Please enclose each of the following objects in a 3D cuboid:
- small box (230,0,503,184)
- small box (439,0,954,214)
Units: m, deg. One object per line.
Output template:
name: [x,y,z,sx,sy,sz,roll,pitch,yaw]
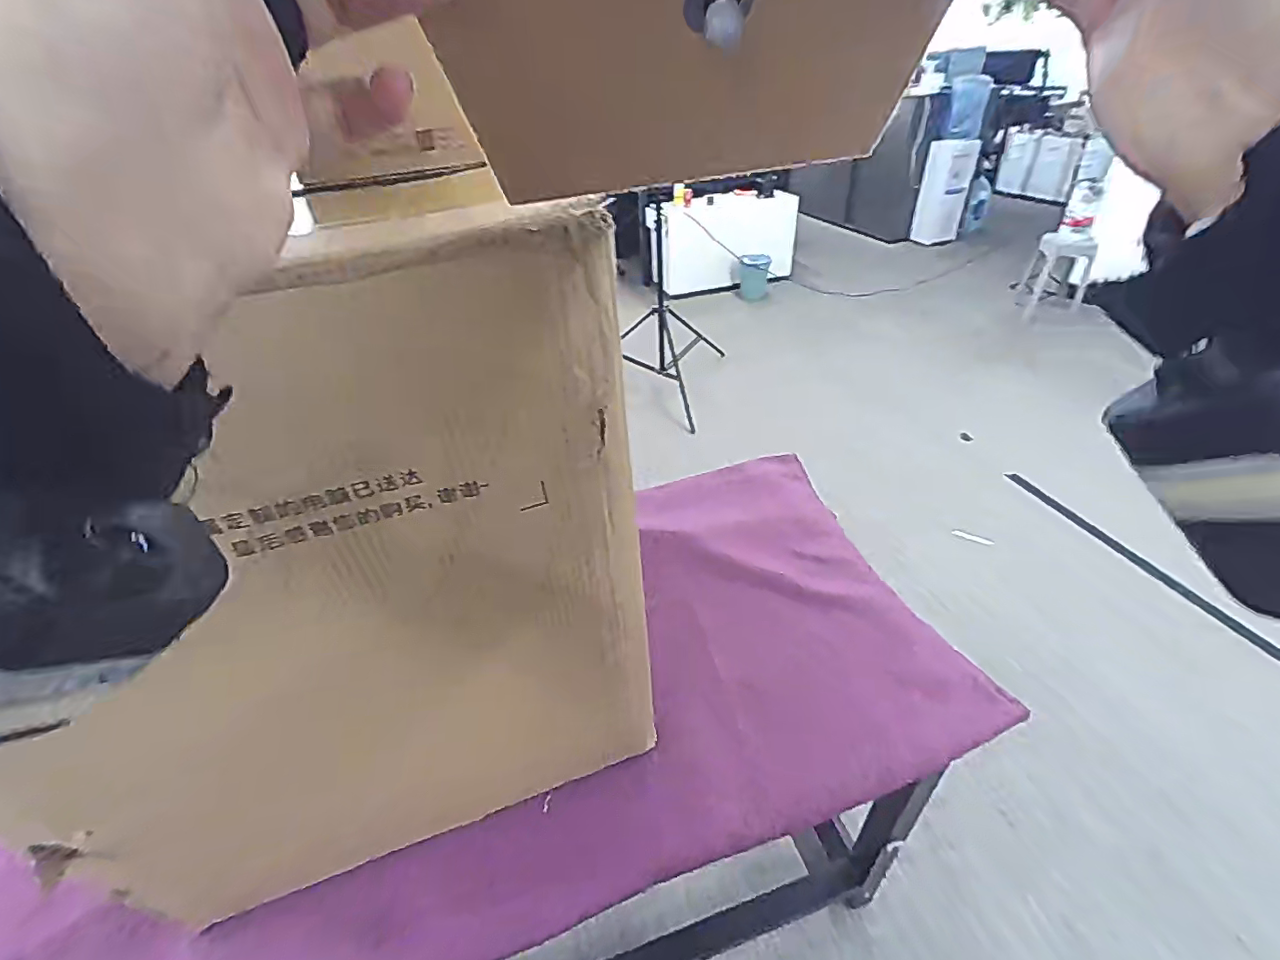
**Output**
small box: [-0.221,-0.359,0.456,0.168,0.176,0.179,-15,39,-11]
small box: [0.011,-0.224,0.172,0.168,0.179,0.176,-7,-5,2]
